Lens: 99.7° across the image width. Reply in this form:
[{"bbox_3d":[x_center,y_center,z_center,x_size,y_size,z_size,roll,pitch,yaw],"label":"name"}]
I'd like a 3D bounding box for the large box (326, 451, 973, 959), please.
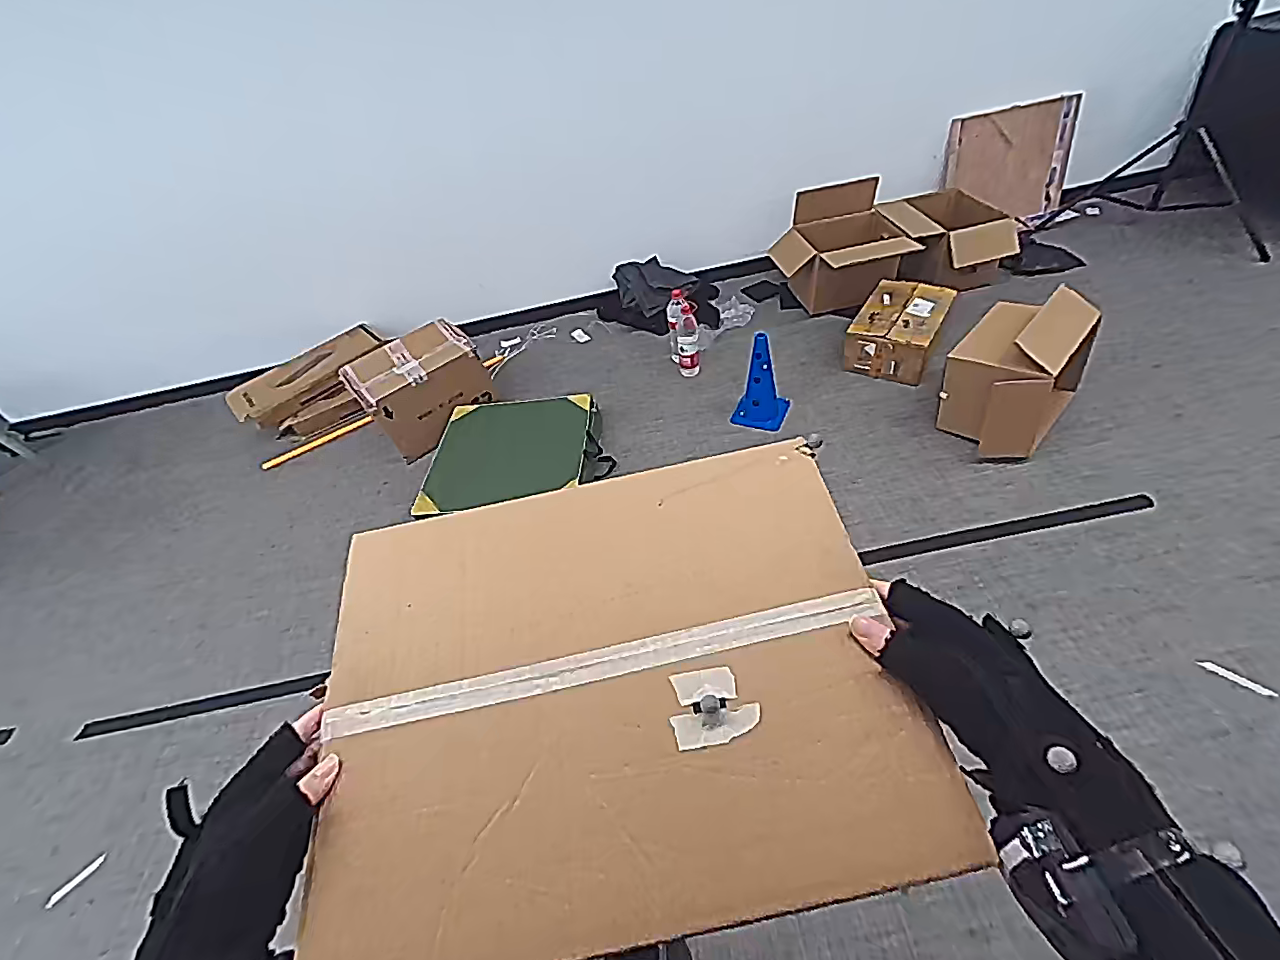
[{"bbox_3d":[-0.006,0.222,0.522,0.408,0.320,0.320,-12,56,-1],"label":"large box"}]
